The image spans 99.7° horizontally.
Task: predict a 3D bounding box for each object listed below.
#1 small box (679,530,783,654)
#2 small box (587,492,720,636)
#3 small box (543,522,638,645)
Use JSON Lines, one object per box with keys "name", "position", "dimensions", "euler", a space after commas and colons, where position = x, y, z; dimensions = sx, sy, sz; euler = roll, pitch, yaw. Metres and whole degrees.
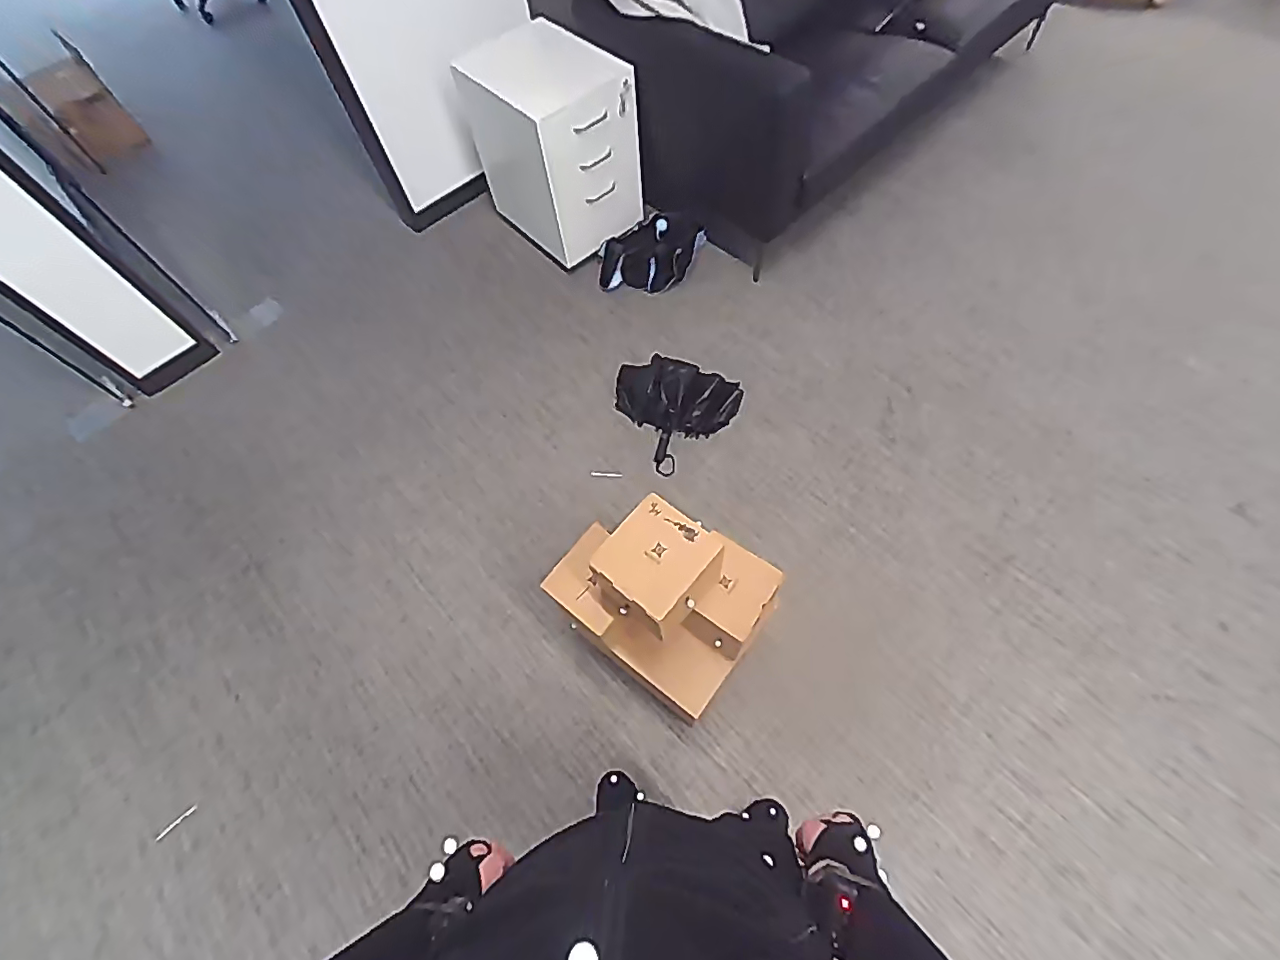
{"name": "small box", "position": [0.172, 0.241, 1.130], "dimensions": [0.179, 0.176, 0.168], "euler": [31, 66, 20]}
{"name": "small box", "position": [0.033, 0.161, 0.995], "dimensions": [0.168, 0.176, 0.179], "euler": [37, 72, 21]}
{"name": "small box", "position": [-0.077, 0.226, 1.157], "dimensions": [0.168, 0.176, 0.179], "euler": [35, 73, 21]}
